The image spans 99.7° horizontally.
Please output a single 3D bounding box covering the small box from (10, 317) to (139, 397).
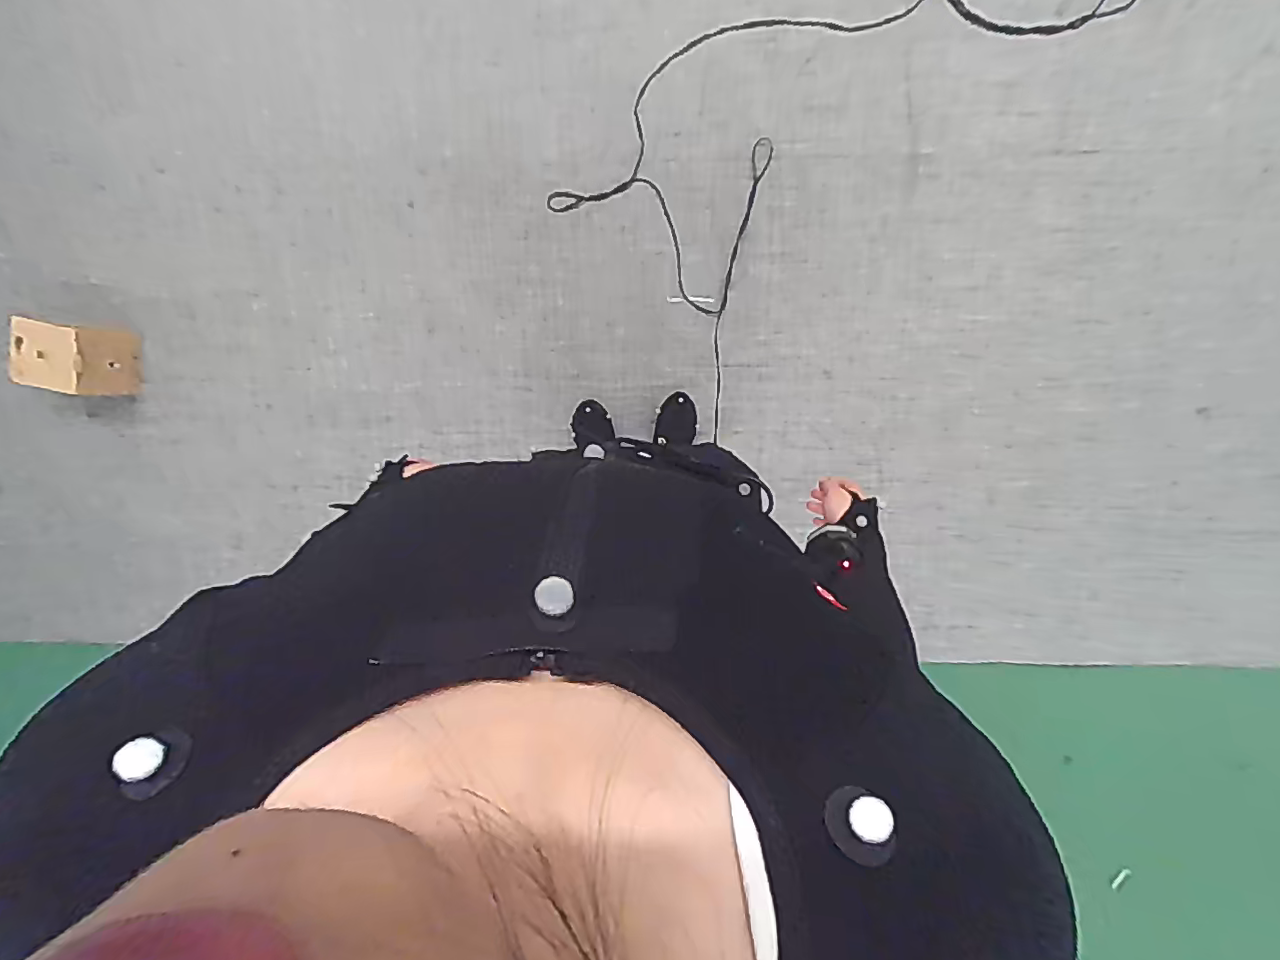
[{"bbox_3d":[-1.474,-0.319,1.419,0.179,0.176,0.168,12,100,0],"label":"small box"}]
